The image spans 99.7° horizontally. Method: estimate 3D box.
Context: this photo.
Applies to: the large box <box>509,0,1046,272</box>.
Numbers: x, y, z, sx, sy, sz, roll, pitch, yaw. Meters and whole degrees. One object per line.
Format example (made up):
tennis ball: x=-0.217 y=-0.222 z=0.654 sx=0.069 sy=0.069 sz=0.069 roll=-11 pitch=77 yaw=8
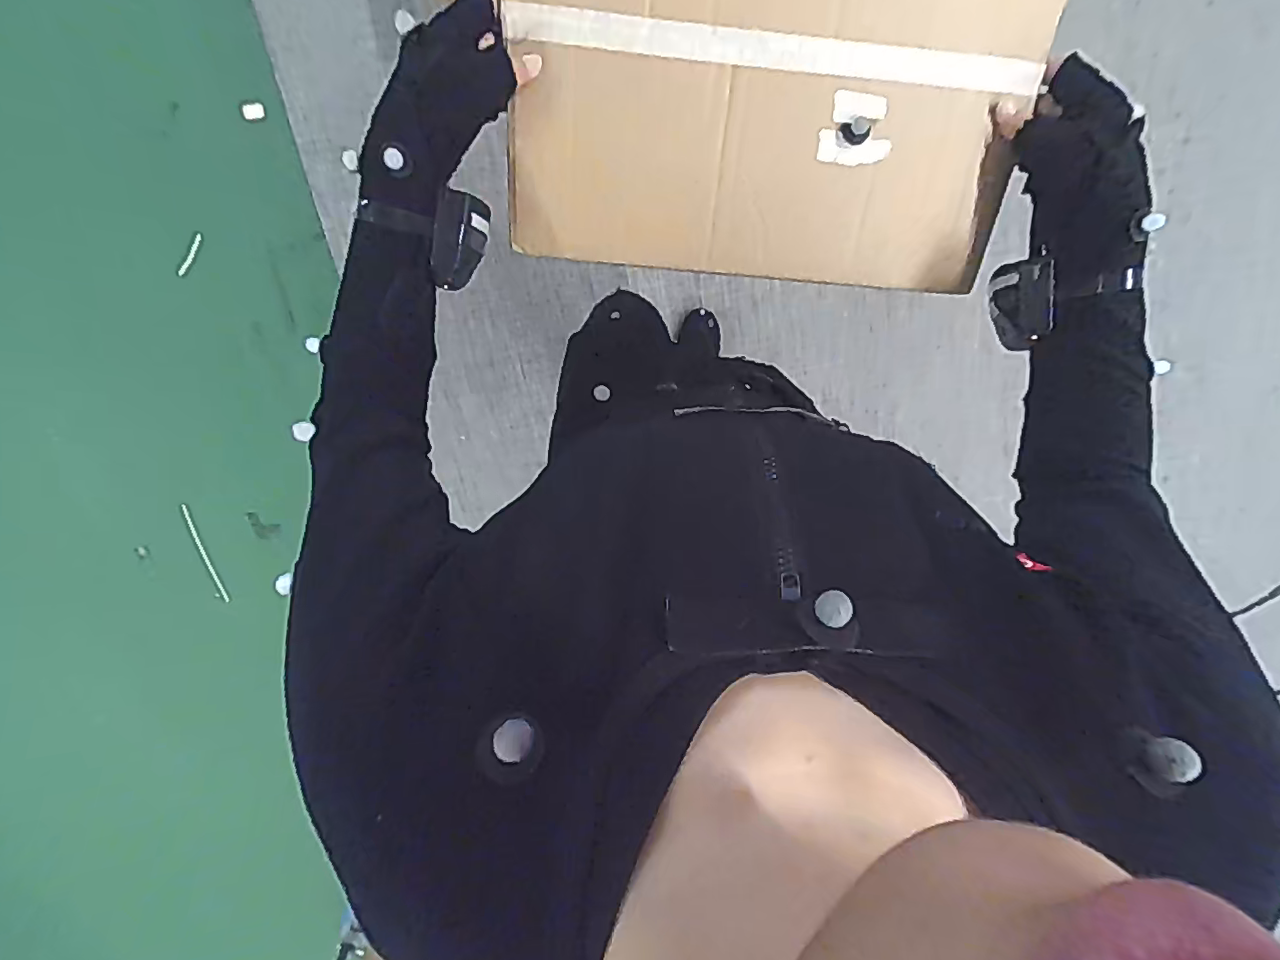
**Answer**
large box: x=0.091 y=-0.393 z=0.539 sx=0.408 sy=0.320 sz=0.320 roll=2 pitch=116 yaw=-5
